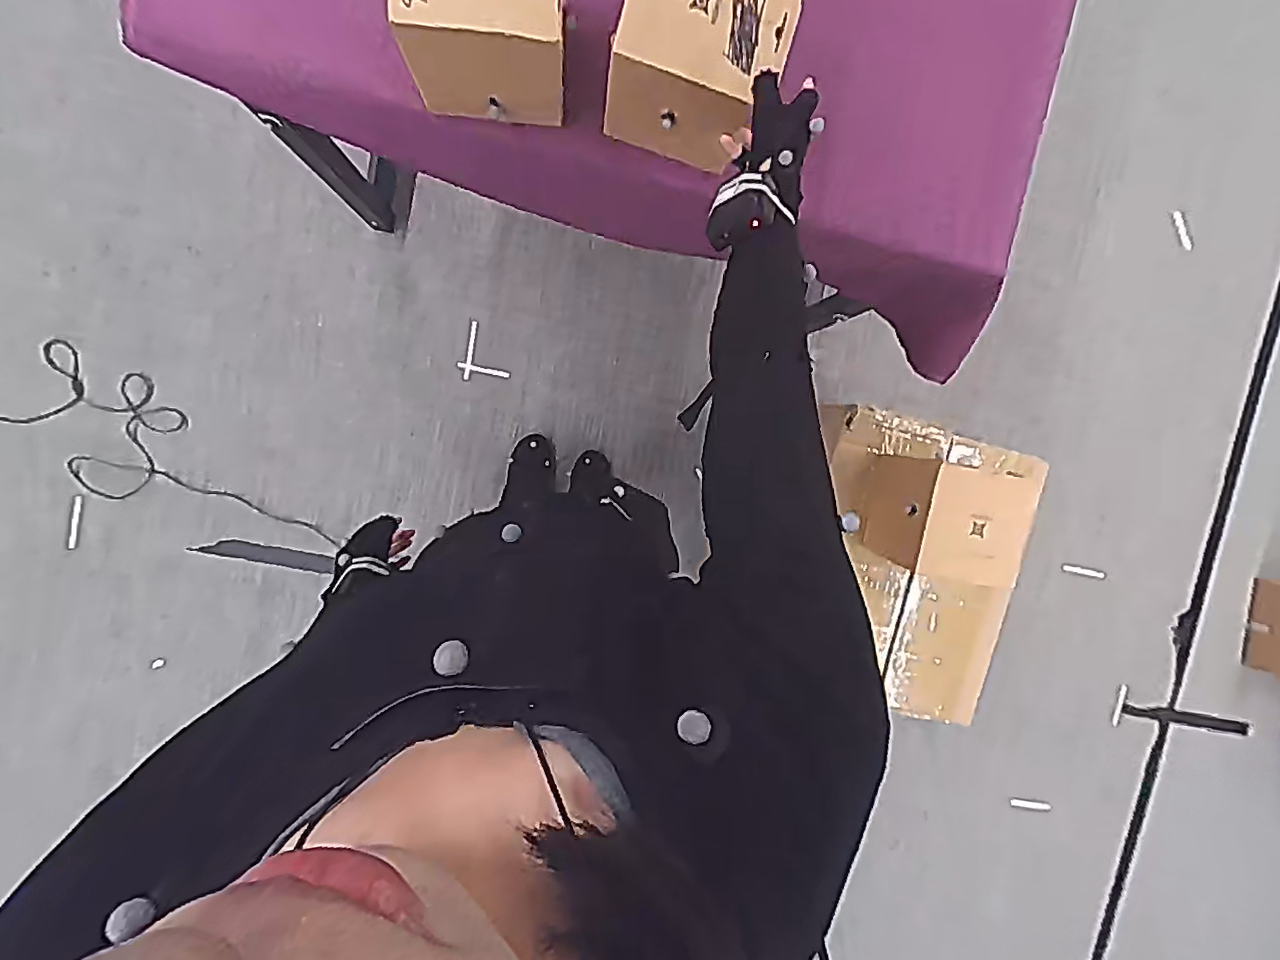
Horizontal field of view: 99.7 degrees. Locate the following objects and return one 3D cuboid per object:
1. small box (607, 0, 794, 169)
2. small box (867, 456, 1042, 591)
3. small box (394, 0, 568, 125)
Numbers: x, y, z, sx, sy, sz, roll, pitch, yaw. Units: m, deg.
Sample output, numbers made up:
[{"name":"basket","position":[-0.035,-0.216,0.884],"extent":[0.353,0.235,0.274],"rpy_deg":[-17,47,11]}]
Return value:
[{"name":"small box","position":[0.066,-0.520,0.667],"extent":[0.179,0.176,0.168],"rpy_deg":[15,92,-7]},{"name":"small box","position":[0.496,0.061,0.878],"extent":[0.168,0.176,0.179],"rpy_deg":[10,96,-5]},{"name":"small box","position":[-0.175,-0.551,0.635],"extent":[0.179,0.176,0.168],"rpy_deg":[1,94,-8]}]
